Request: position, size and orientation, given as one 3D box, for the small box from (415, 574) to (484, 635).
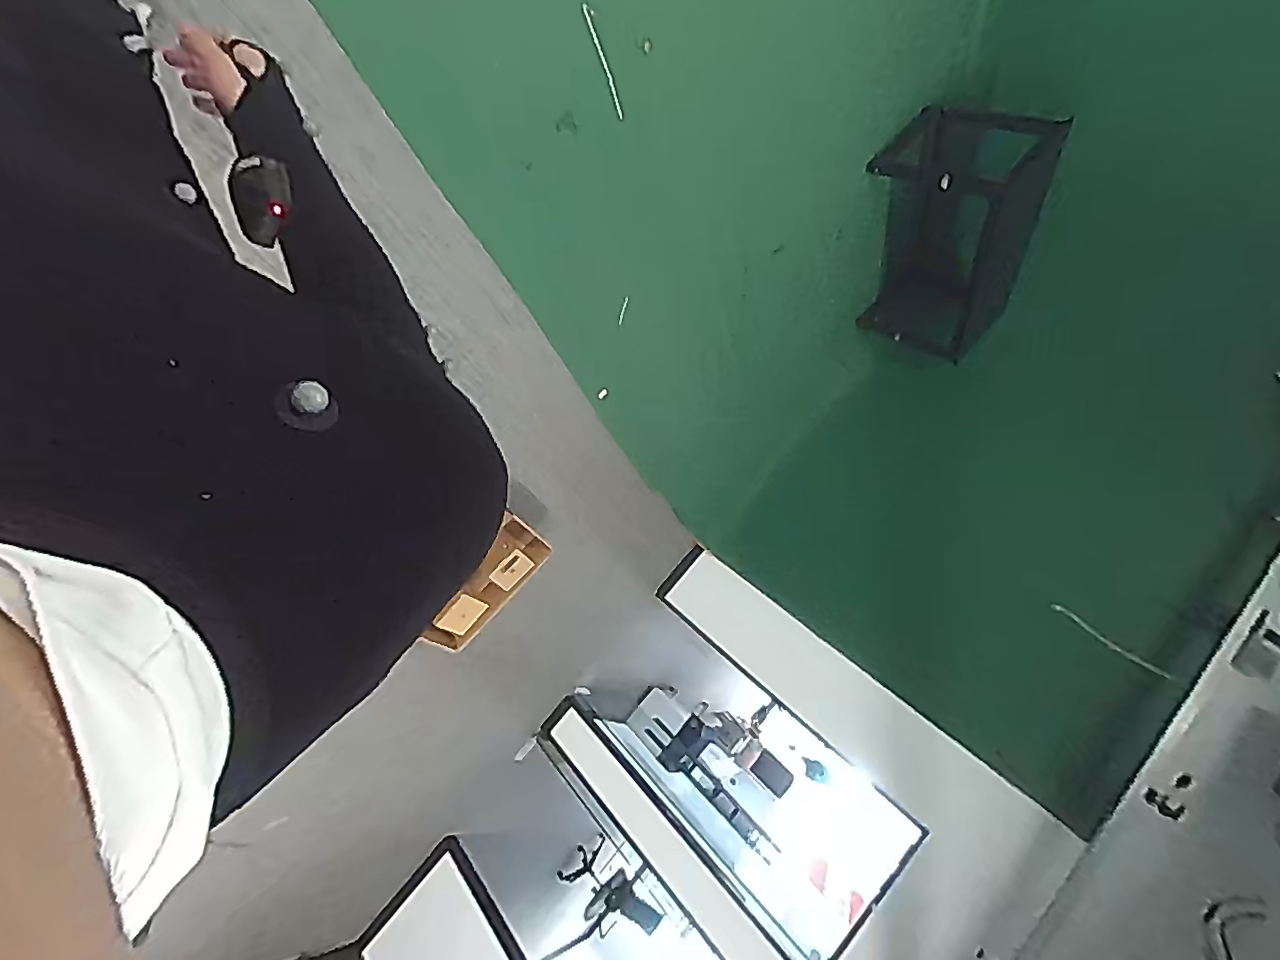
[{"bbox_3d":[-0.796,0.516,2.252,0.168,0.176,0.179,-49,146,-8],"label":"small box"}]
